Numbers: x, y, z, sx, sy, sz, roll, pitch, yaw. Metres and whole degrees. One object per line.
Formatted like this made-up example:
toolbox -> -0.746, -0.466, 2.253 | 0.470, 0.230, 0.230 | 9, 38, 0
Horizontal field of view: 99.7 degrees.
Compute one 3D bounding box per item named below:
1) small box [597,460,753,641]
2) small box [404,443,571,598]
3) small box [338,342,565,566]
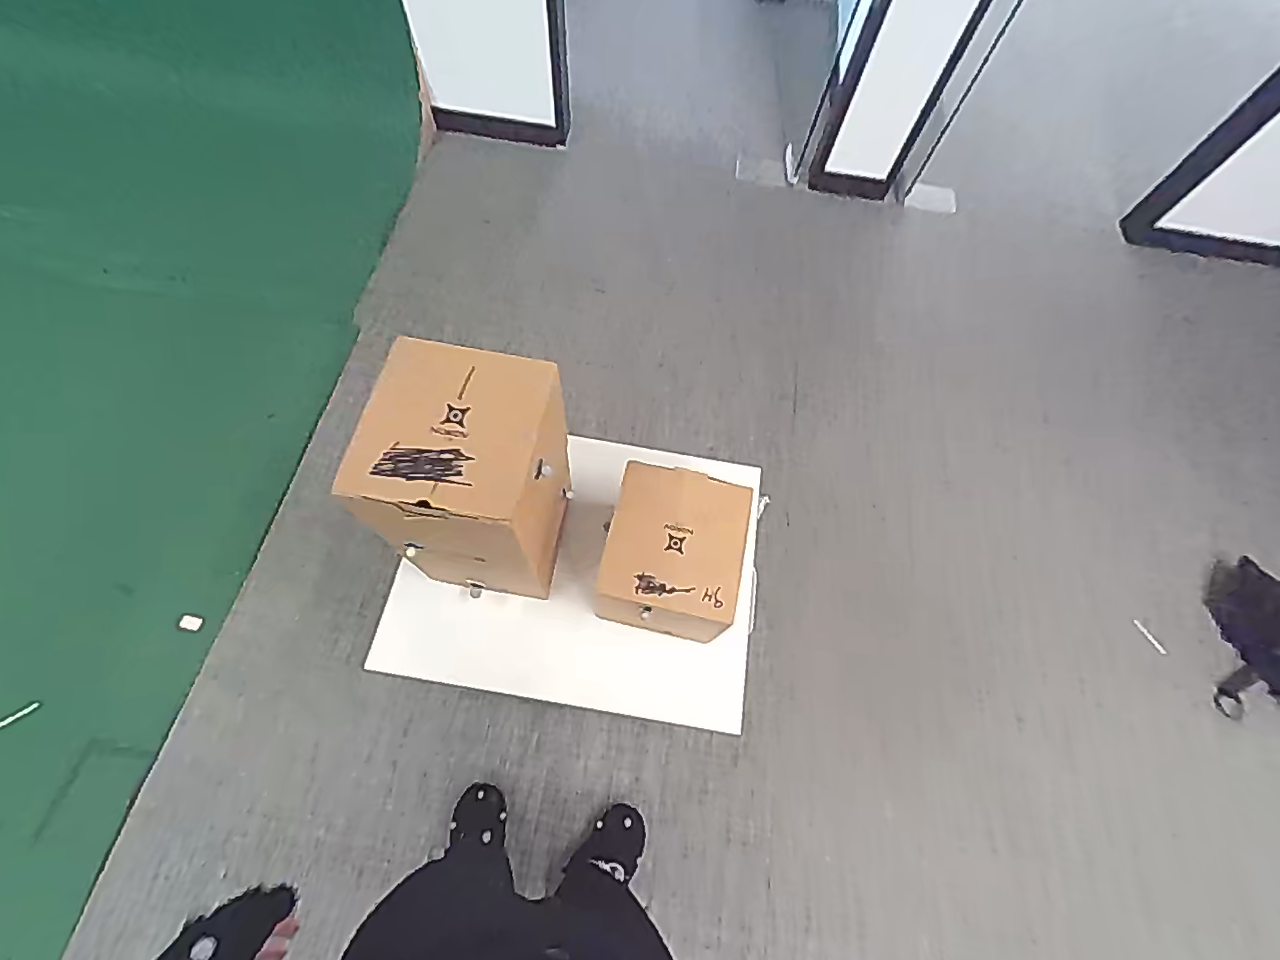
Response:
small box -> 0.041, 0.101, 0.727 | 0.168, 0.176, 0.179 | 13, 66, 3
small box -> -0.190, 0.049, 0.738 | 0.168, 0.176, 0.179 | 8, 67, 1
small box -> -0.181, -0.018, 0.588 | 0.168, 0.176, 0.179 | 10, 65, 1
